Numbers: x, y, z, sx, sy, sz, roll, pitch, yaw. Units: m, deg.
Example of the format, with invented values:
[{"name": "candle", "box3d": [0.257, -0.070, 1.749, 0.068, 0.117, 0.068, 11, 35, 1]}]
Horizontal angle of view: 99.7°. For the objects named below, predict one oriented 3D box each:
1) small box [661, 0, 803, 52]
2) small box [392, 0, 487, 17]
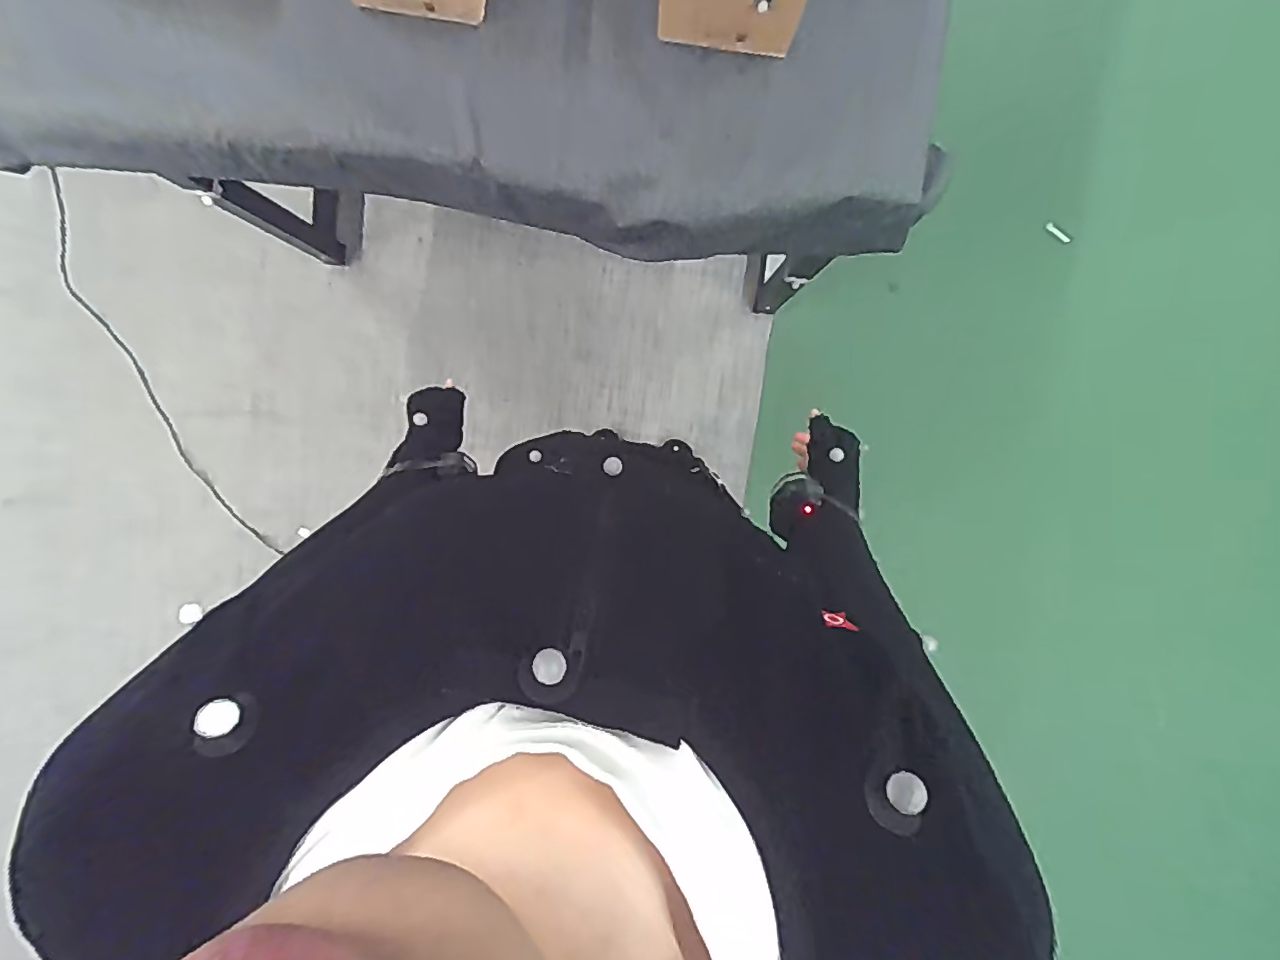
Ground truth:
[{"name": "small box", "box3d": [0.115, -0.624, 0.597, 0.168, 0.176, 0.179, 8, 94, -1]}, {"name": "small box", "box3d": [-0.261, -0.666, 0.593, 0.168, 0.176, 0.179, 8, 96, -1]}]
